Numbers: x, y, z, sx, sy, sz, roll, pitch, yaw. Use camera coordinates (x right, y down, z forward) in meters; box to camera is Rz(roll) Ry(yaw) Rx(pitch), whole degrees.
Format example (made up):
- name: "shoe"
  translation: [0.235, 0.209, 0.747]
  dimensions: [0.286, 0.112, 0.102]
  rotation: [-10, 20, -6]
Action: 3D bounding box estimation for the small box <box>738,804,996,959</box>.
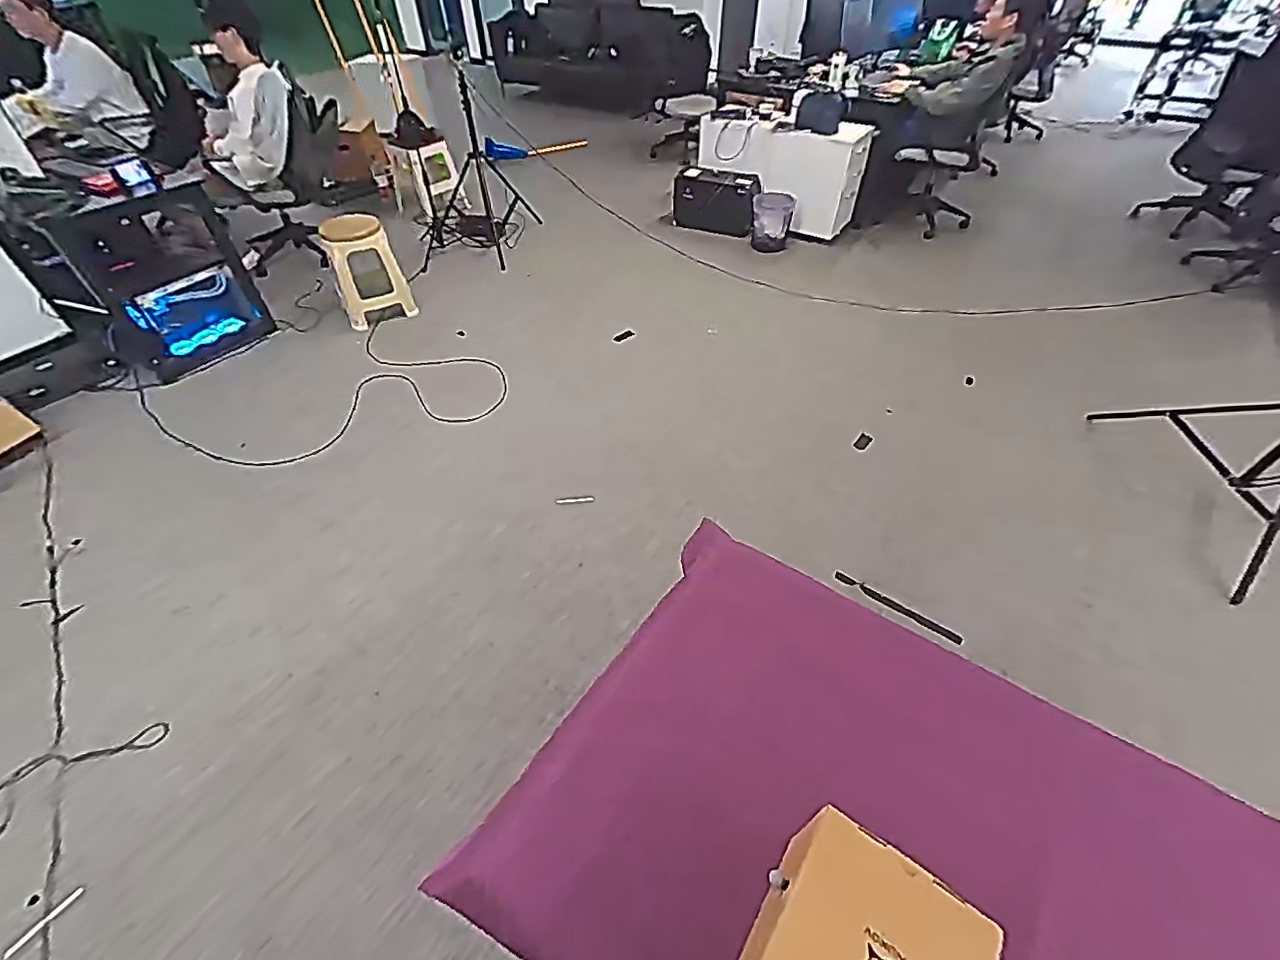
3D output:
- name: "small box"
  translation: [0.205, 0.470, 0.528]
  dimensions: [0.168, 0.176, 0.179]
  rotation: [28, 51, 24]
